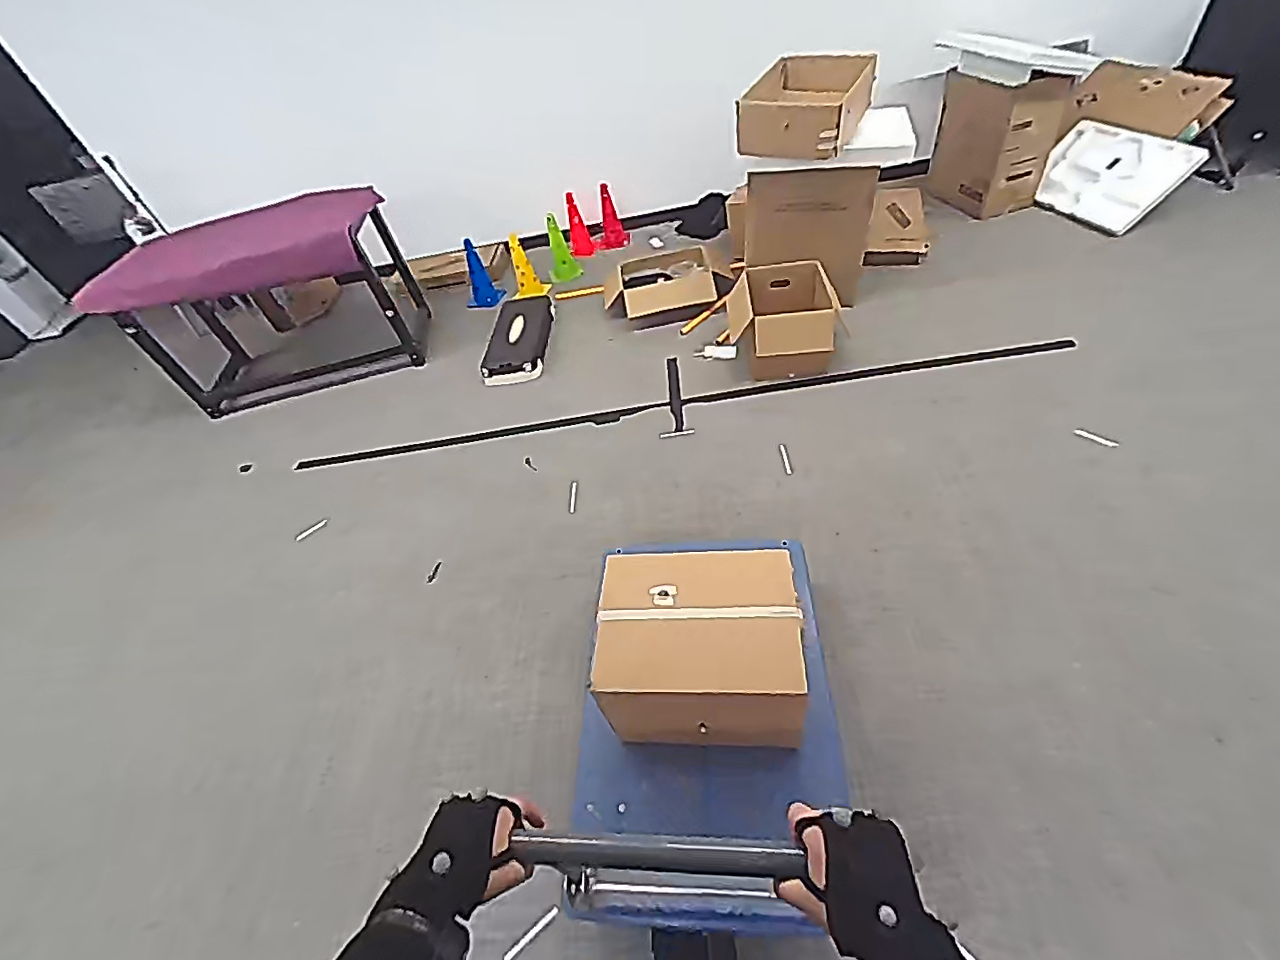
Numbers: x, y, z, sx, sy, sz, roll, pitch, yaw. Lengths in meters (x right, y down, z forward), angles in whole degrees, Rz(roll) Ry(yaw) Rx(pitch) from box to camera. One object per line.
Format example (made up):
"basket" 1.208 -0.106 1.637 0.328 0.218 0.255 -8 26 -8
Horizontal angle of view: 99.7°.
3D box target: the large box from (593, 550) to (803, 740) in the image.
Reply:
"large box" 0.140 0.383 1.224 0.408 0.320 0.320 -4 46 11
